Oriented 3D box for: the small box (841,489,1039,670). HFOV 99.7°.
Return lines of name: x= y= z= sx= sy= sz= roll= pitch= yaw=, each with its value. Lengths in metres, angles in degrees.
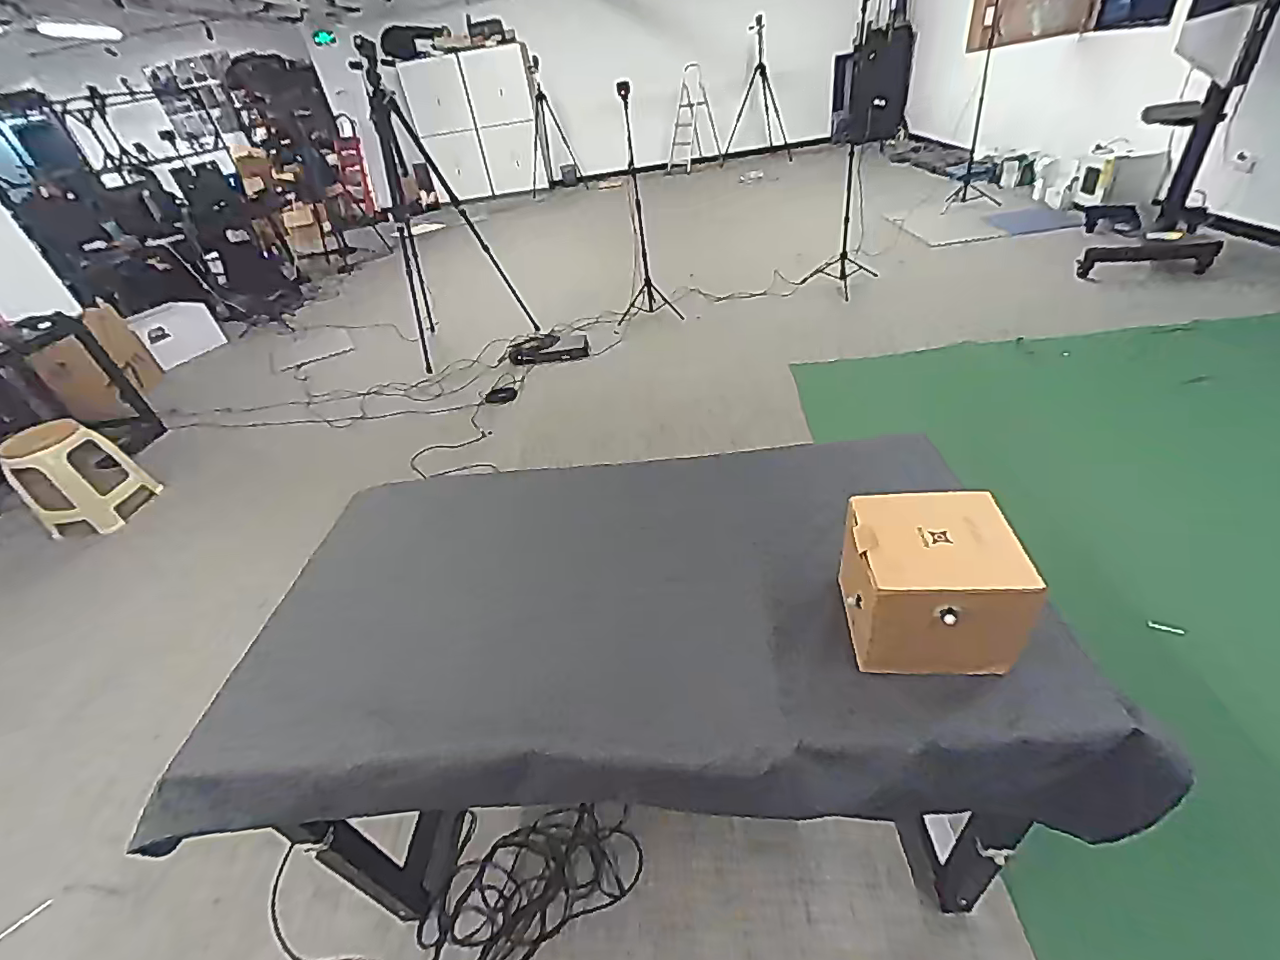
small box: x=0.365 y=0.129 z=0.702 sx=0.179 sy=0.176 sz=0.168 roll=-2 pitch=39 yaw=10
